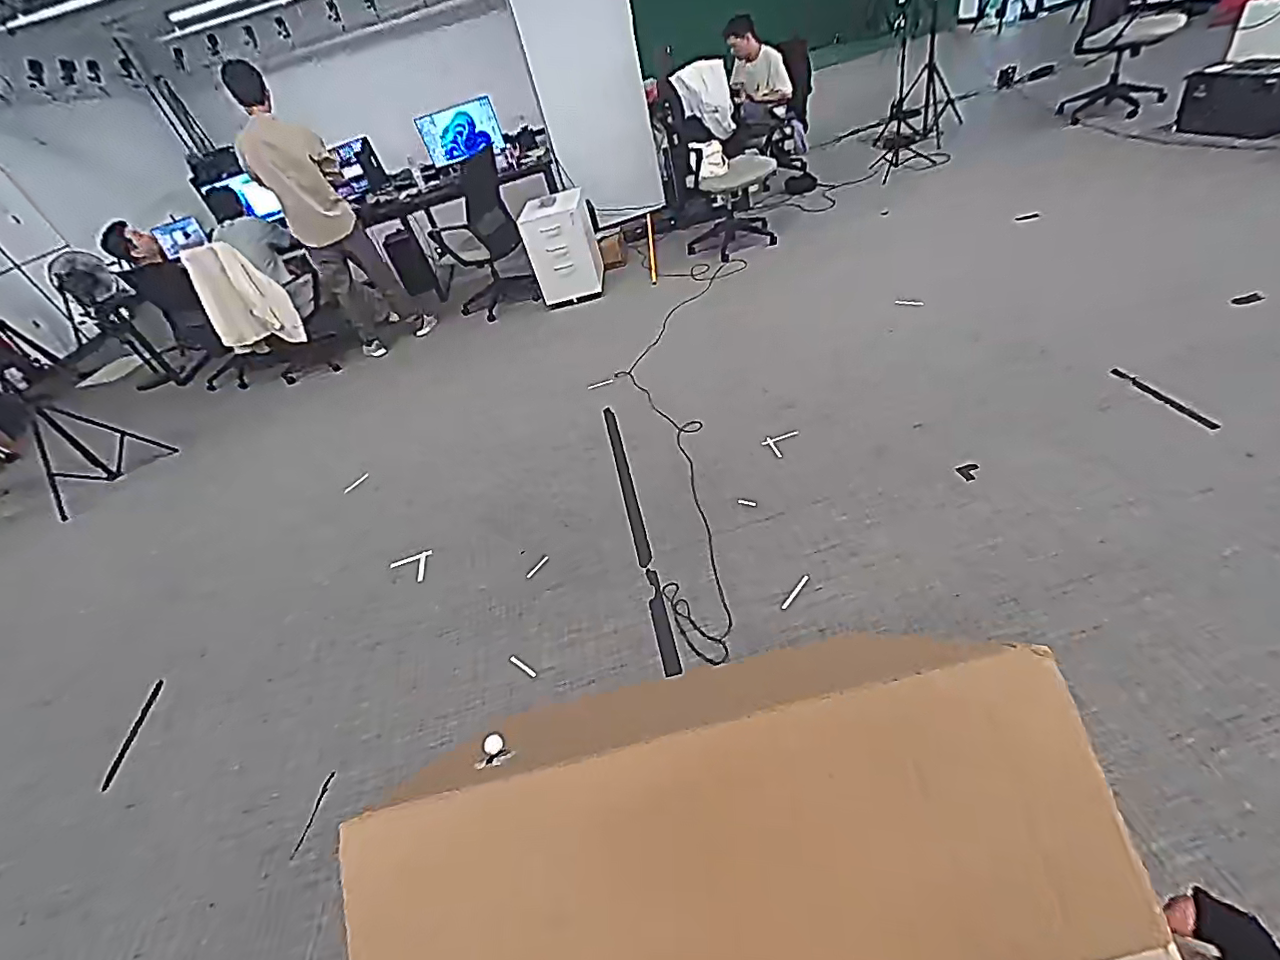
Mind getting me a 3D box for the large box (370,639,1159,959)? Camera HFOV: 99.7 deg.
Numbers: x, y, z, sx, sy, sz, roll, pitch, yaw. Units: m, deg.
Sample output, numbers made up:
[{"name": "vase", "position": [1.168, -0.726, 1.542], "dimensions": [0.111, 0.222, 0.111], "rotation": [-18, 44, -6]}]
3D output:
[{"name": "large box", "position": [0.078, 0.328, 0.417], "dimensions": [0.408, 0.320, 0.320], "rotation": [-14, 76, -1]}]
